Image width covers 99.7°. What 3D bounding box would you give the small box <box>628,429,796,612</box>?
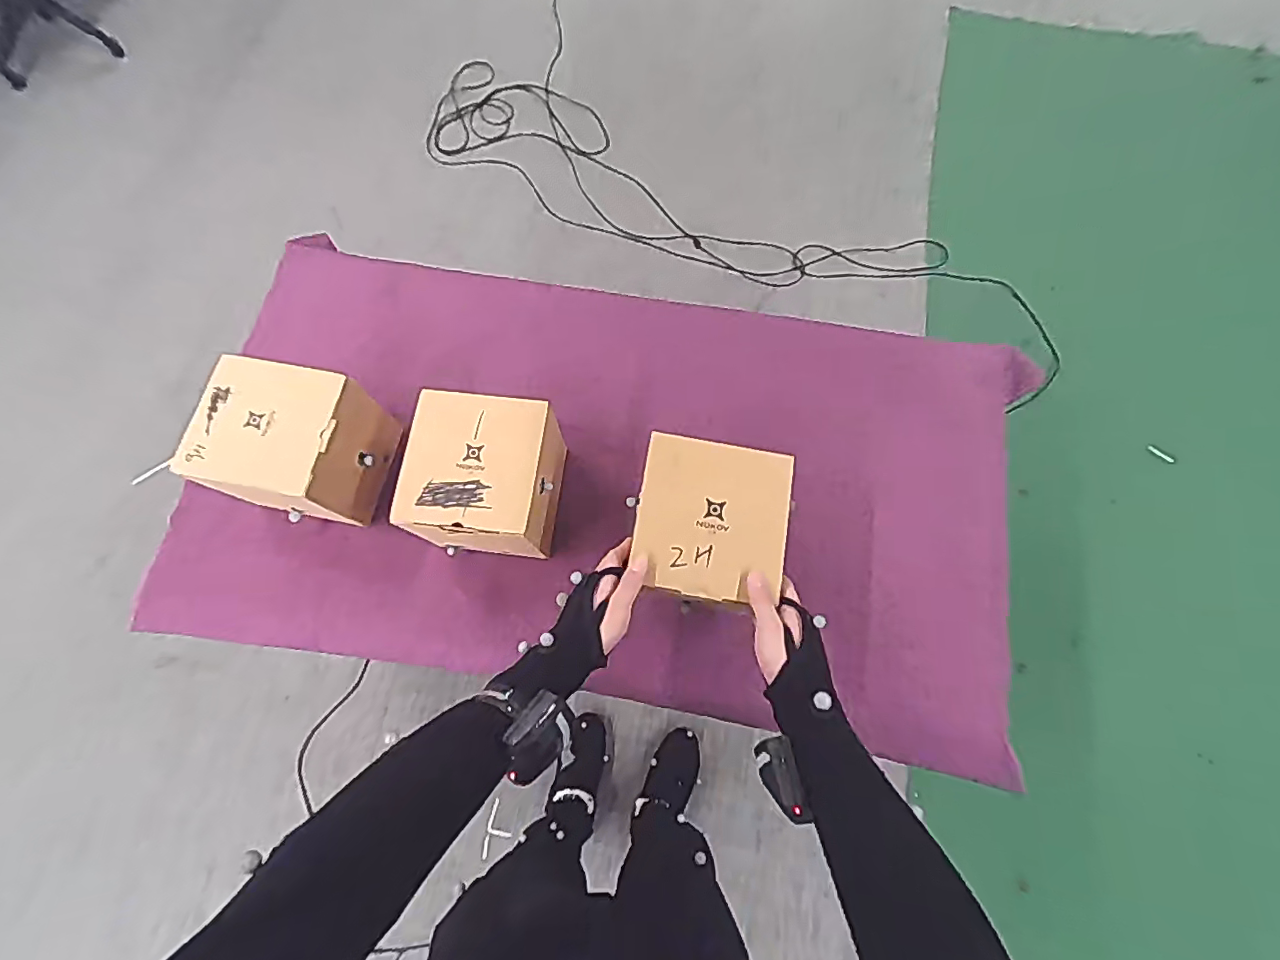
[{"bbox_3d":[0.079,0.060,0.666,0.168,0.176,0.179,10,75,1],"label":"small box"}]

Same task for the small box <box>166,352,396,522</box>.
[{"bbox_3d":[-0.465,-0.048,0.738,0.179,0.176,0.168,11,73,2],"label":"small box"}]

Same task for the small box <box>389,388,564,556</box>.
[{"bbox_3d":[-0.202,-0.001,0.725,0.168,0.176,0.179,7,73,1],"label":"small box"}]
